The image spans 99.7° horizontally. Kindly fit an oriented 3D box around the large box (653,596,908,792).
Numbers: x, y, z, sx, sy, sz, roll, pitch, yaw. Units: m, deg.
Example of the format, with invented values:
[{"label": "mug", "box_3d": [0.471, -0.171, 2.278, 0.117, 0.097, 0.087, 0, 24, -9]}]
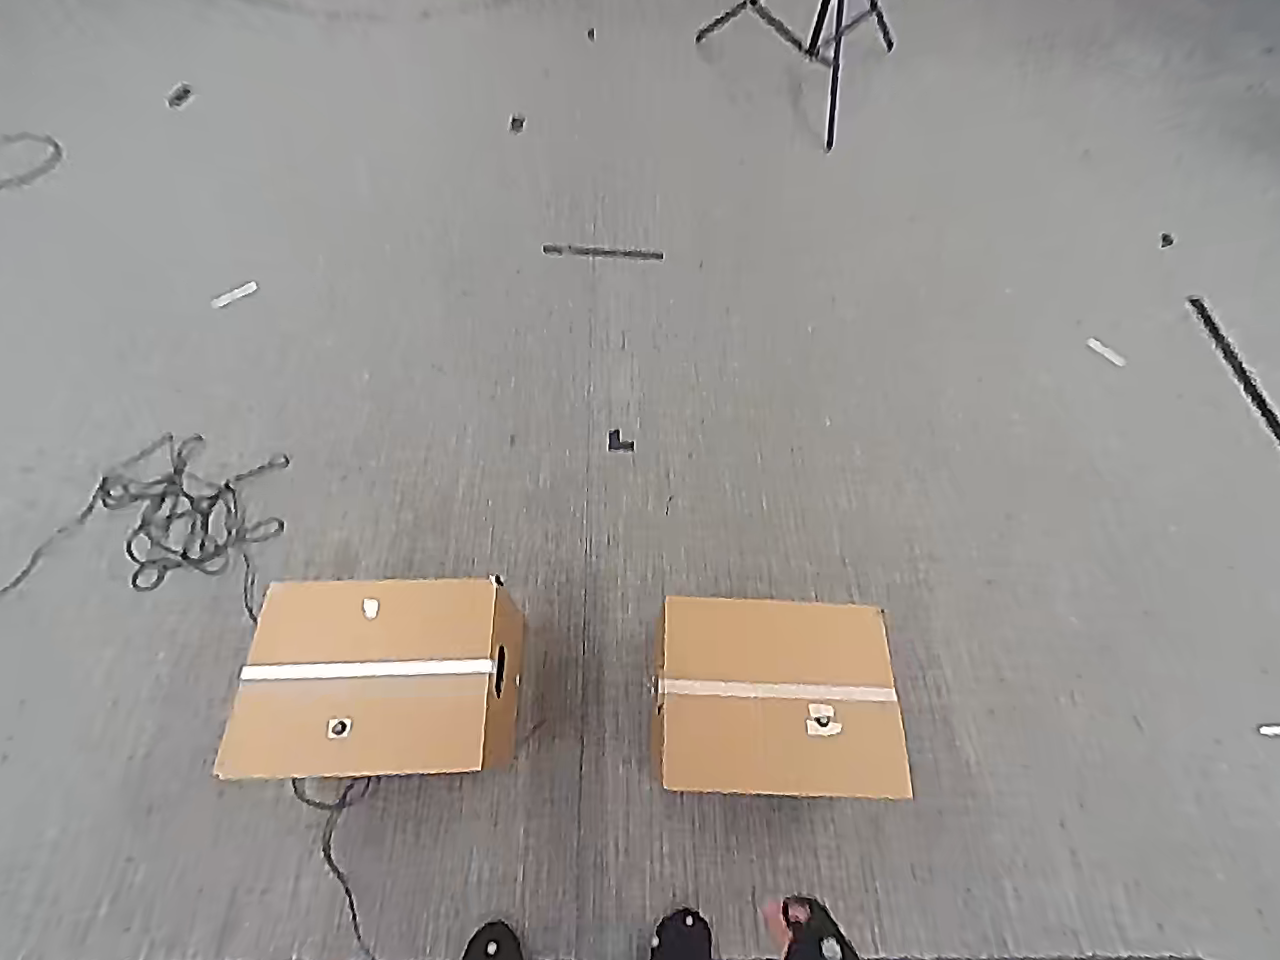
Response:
[{"label": "large box", "box_3d": [0.235, 0.431, 1.073, 0.408, 0.320, 0.320, 3, 63, -2]}]
